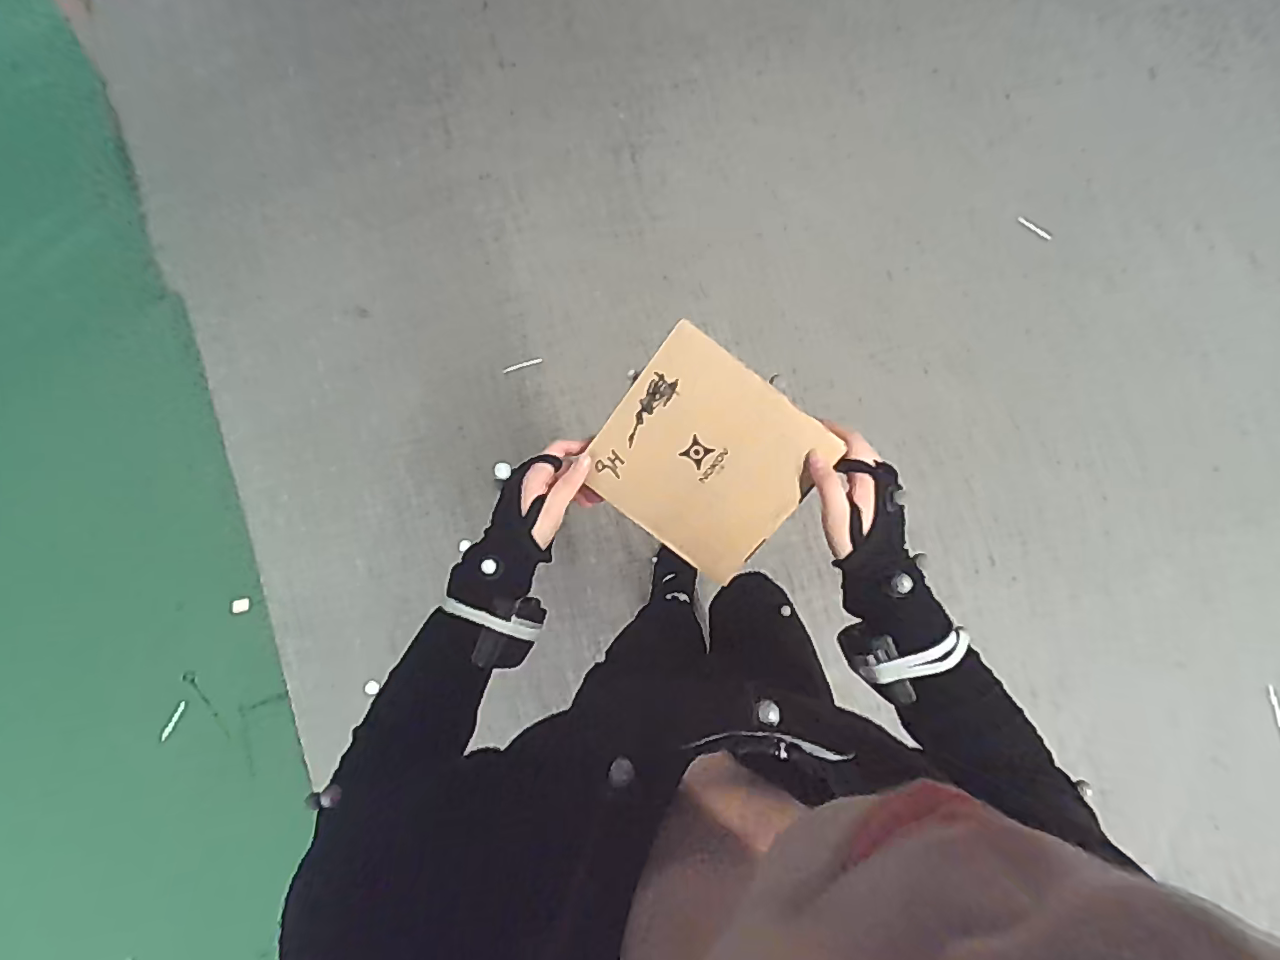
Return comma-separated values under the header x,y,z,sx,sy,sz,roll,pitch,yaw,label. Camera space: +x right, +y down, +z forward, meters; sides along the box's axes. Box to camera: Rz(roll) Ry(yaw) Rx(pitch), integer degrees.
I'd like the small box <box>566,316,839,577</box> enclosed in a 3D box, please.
x,y,z,sx,sy,sz,roll,pitch,yaw,label
0.059,-0.043,0.535,0.179,0.176,0.168,37,106,-3,small box
